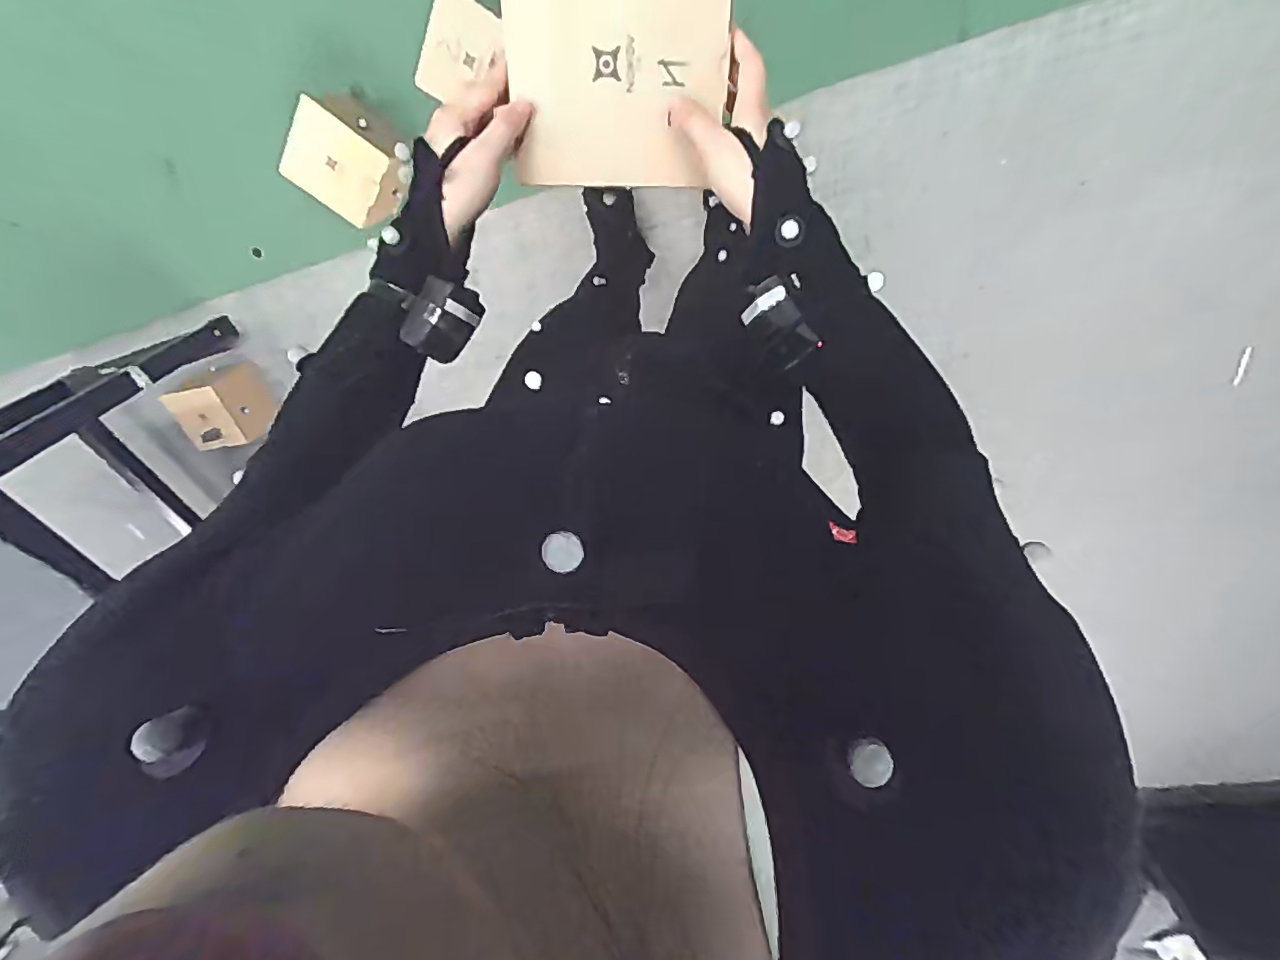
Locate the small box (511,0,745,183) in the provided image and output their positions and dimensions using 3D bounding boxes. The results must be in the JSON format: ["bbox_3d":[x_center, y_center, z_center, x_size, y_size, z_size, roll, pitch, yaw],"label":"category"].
[{"bbox_3d":[-0.007,-0.365,0.487,0.179,0.176,0.168,1,122,0],"label":"small box"}]

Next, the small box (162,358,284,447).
[{"bbox_3d":[-1.152,-0.217,1.513,0.168,0.176,0.179,-8,126,9],"label":"small box"}]

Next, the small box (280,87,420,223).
[{"bbox_3d":[-0.593,-0.674,1.121,0.179,0.176,0.168,32,123,-20],"label":"small box"}]
